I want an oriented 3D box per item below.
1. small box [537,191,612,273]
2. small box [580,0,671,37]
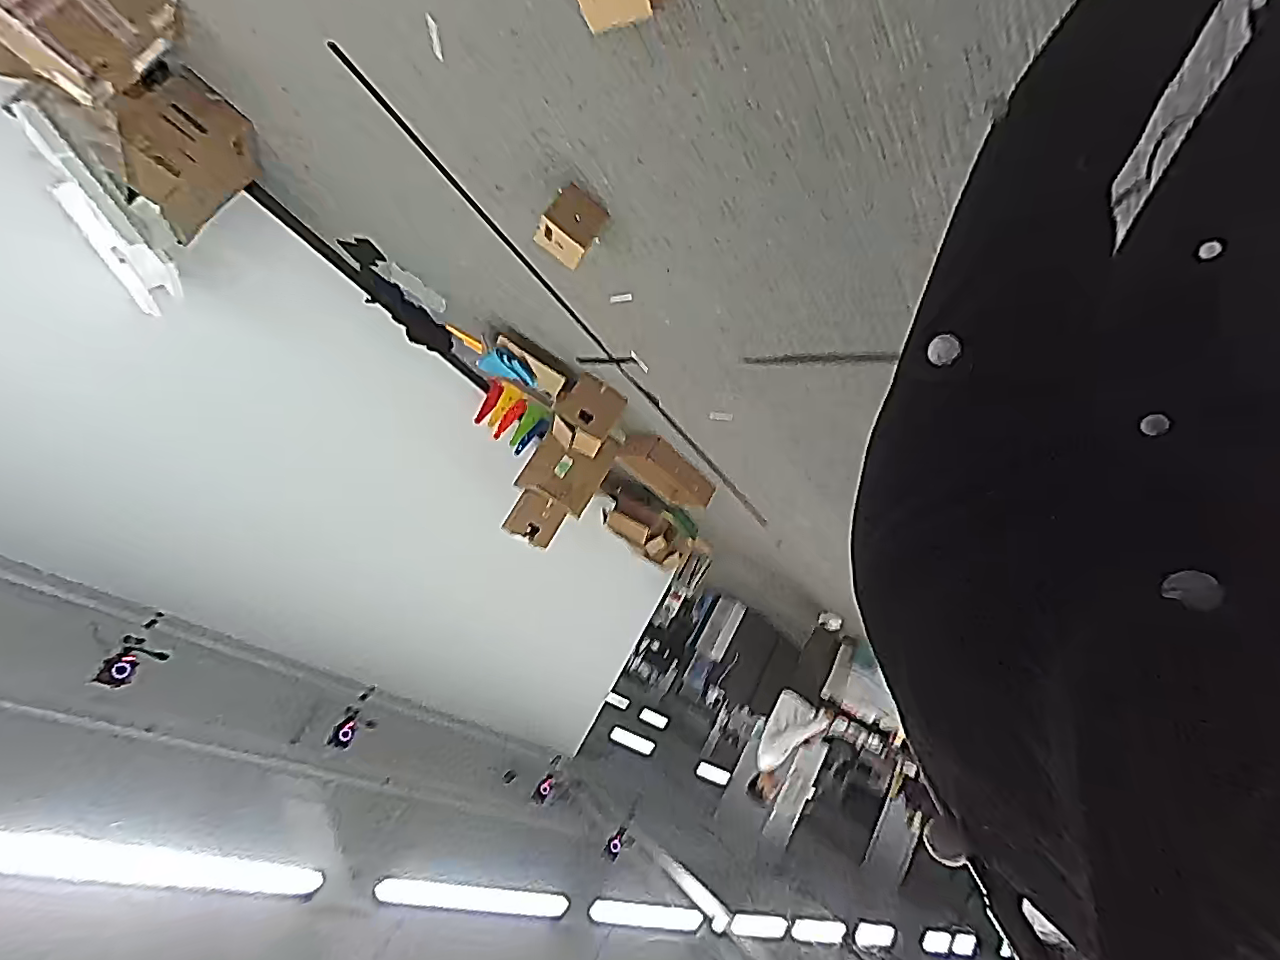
[{"bbox_3d":[-0.229,-0.873,1.893,0.179,0.176,0.168,35,164,-16],"label":"small box"},{"bbox_3d":[-0.022,-1.026,1.058,0.179,0.176,0.168,20,159,38],"label":"small box"}]
